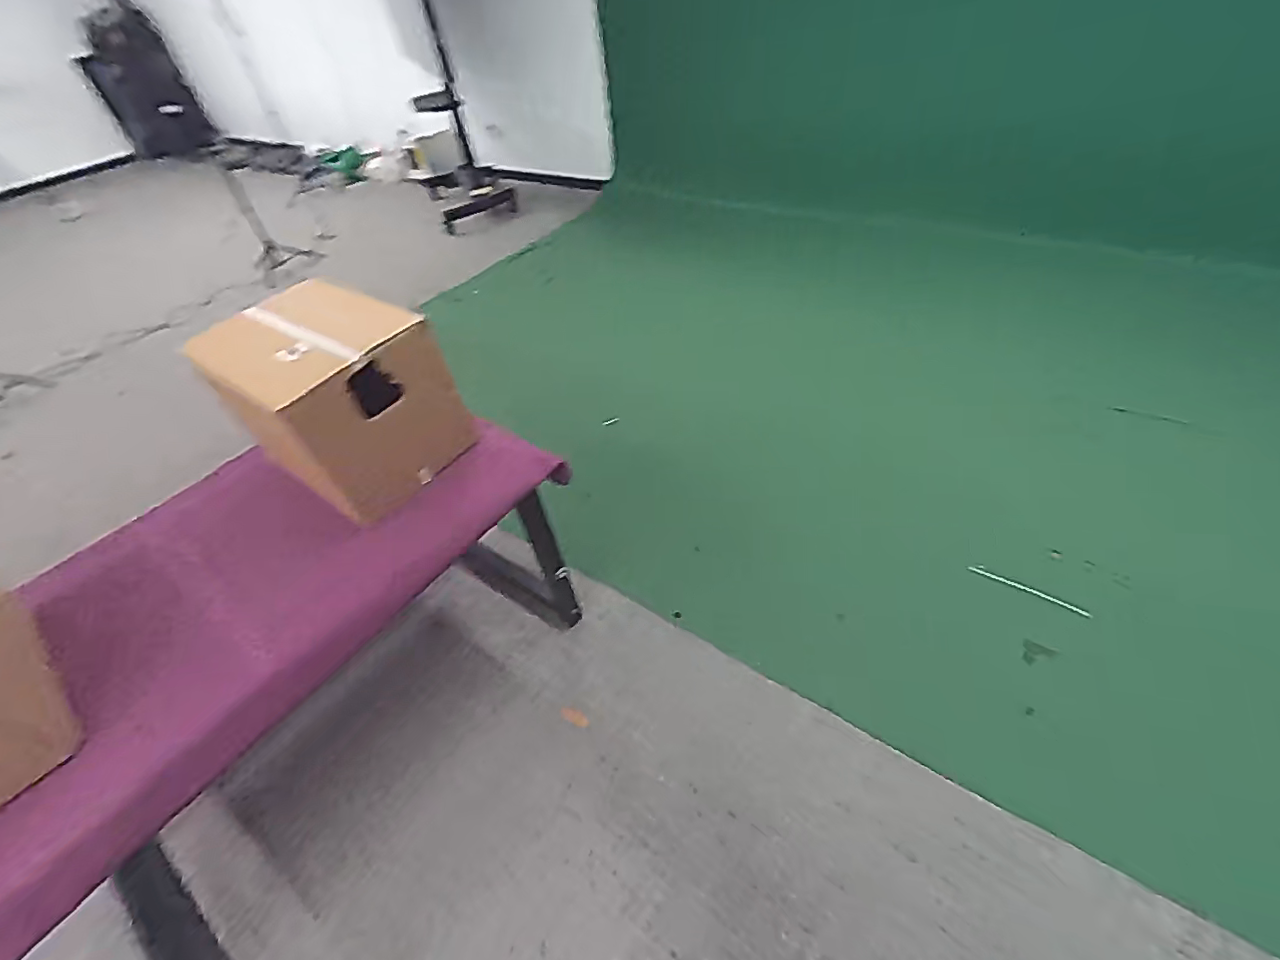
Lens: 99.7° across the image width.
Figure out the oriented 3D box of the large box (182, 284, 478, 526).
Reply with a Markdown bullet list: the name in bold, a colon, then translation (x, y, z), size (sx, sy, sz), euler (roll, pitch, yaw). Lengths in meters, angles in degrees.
- **large box**: translation (-0.626, -0.169, 1.141), size (0.408, 0.320, 0.320), euler (24, 56, 27)
